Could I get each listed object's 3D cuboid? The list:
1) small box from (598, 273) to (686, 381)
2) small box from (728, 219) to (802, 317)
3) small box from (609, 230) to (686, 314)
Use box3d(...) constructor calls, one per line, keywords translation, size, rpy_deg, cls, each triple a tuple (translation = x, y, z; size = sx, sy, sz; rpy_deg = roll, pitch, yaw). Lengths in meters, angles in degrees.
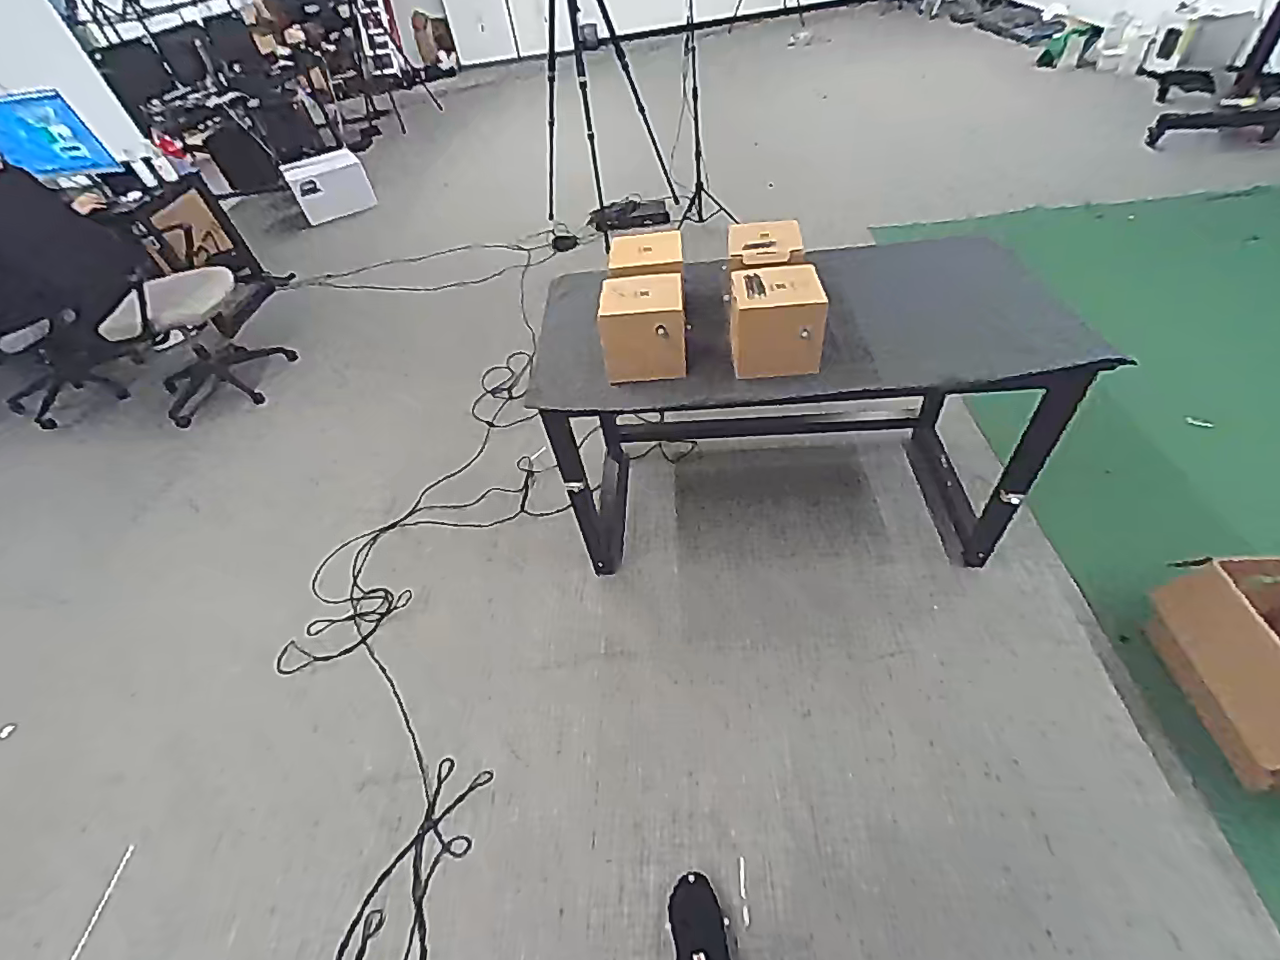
box3d(translation=(0.013, -0.337, 1.202), size=(0.179, 0.176, 0.168), rpy_deg=(-3, 46, 6), cls="small box")
box3d(translation=(0.300, -0.509, 1.315), size=(0.168, 0.176, 0.179), rpy_deg=(0, 47, 10), cls="small box")
box3d(translation=(0.025, -0.499, 1.356), size=(0.179, 0.176, 0.168), rpy_deg=(-5, 47, 7), cls="small box")
